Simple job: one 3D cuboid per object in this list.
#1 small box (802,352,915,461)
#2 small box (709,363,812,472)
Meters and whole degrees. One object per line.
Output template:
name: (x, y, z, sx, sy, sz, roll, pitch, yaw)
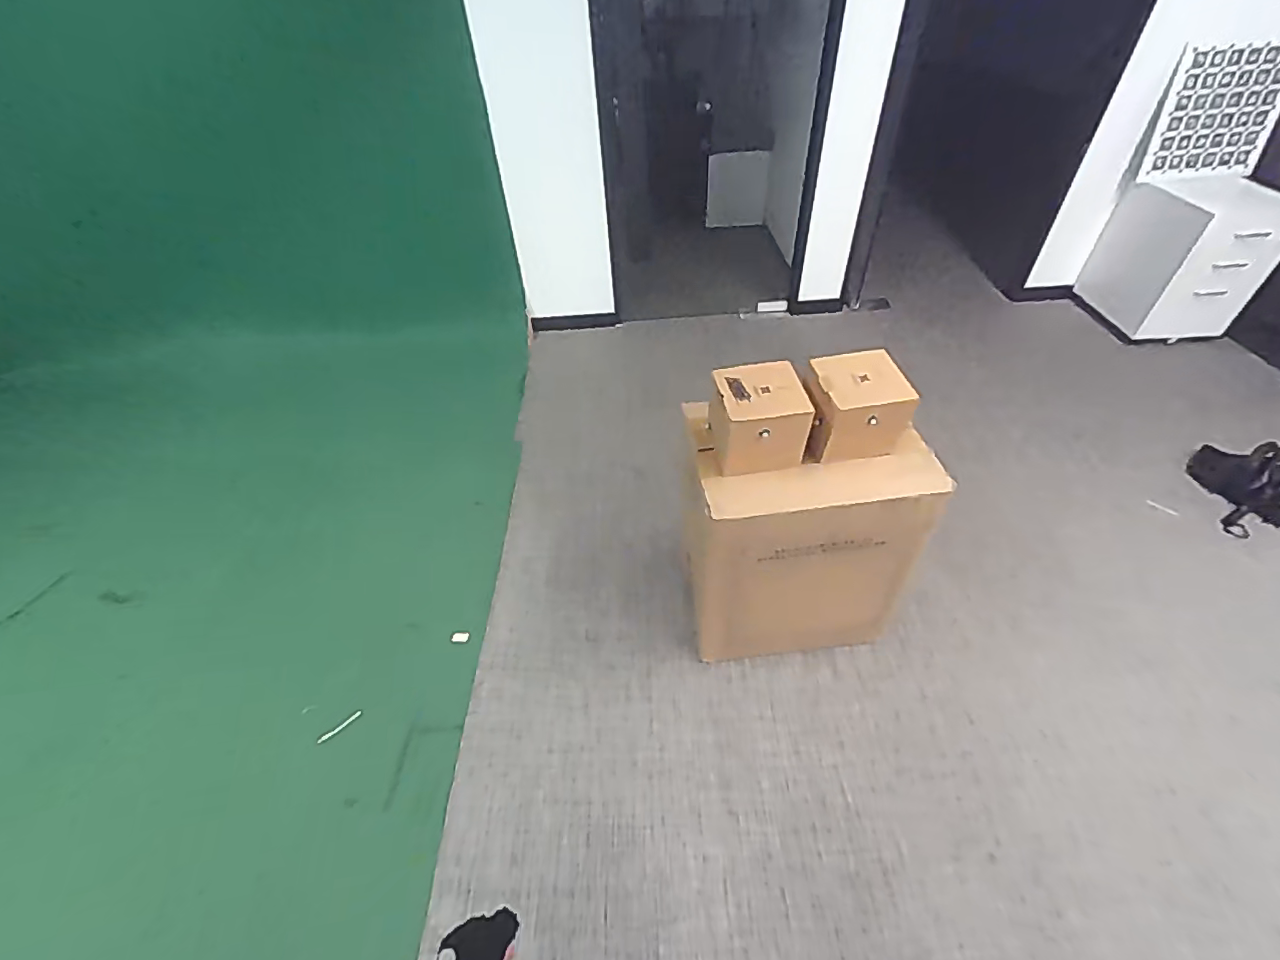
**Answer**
small box: (0.465, -0.158, 1.199, 0.179, 0.176, 0.168, -8, 51, -6)
small box: (0.252, -0.132, 1.183, 0.179, 0.176, 0.168, -7, 50, -4)
